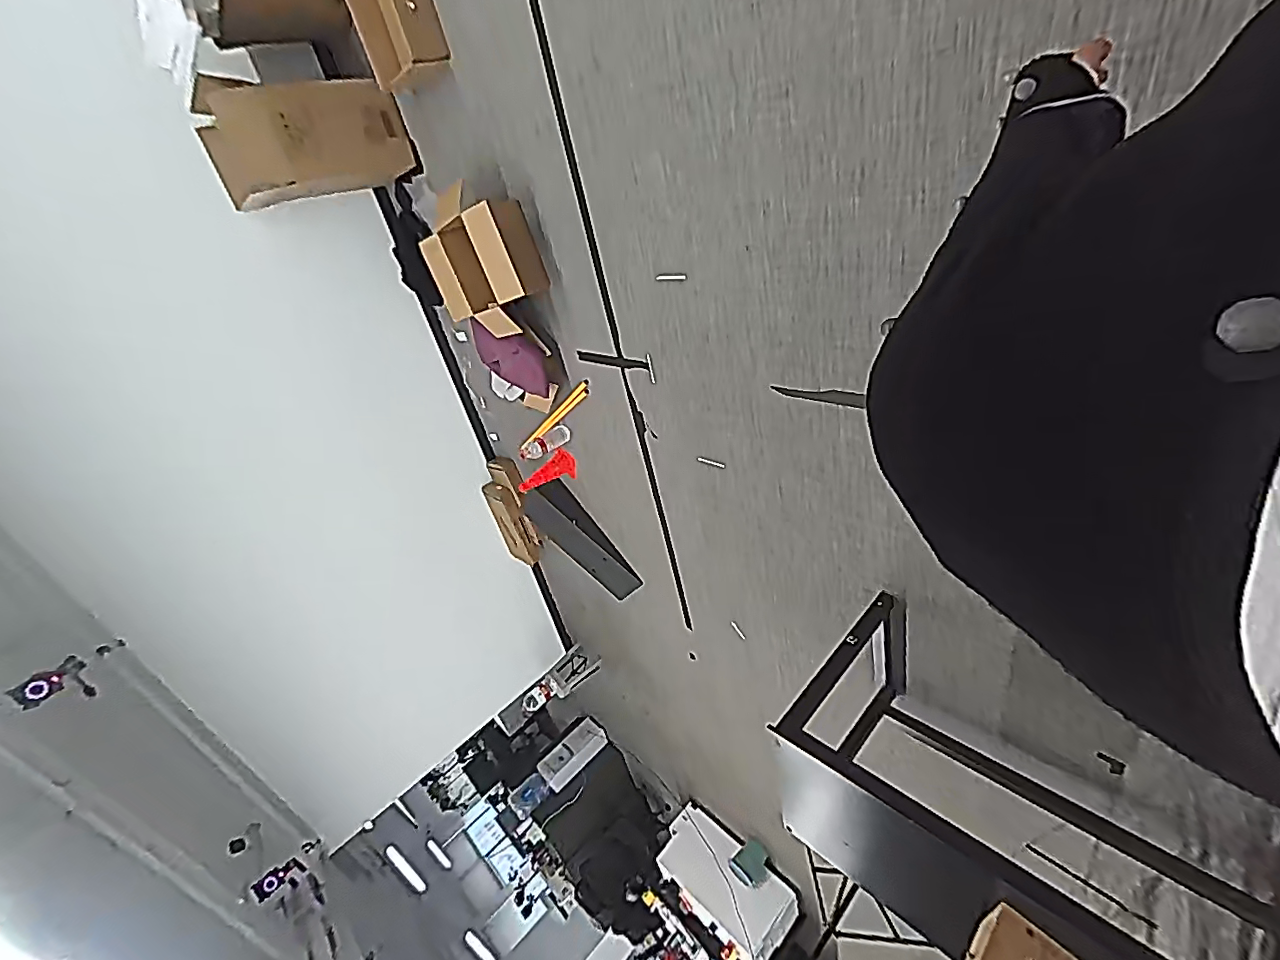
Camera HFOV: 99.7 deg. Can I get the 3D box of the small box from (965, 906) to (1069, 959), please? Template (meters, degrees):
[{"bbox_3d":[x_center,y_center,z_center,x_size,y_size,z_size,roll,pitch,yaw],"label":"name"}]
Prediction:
[{"bbox_3d":[0.848,1.116,1.218,0.168,0.176,0.179,30,141,37],"label":"small box"}]
